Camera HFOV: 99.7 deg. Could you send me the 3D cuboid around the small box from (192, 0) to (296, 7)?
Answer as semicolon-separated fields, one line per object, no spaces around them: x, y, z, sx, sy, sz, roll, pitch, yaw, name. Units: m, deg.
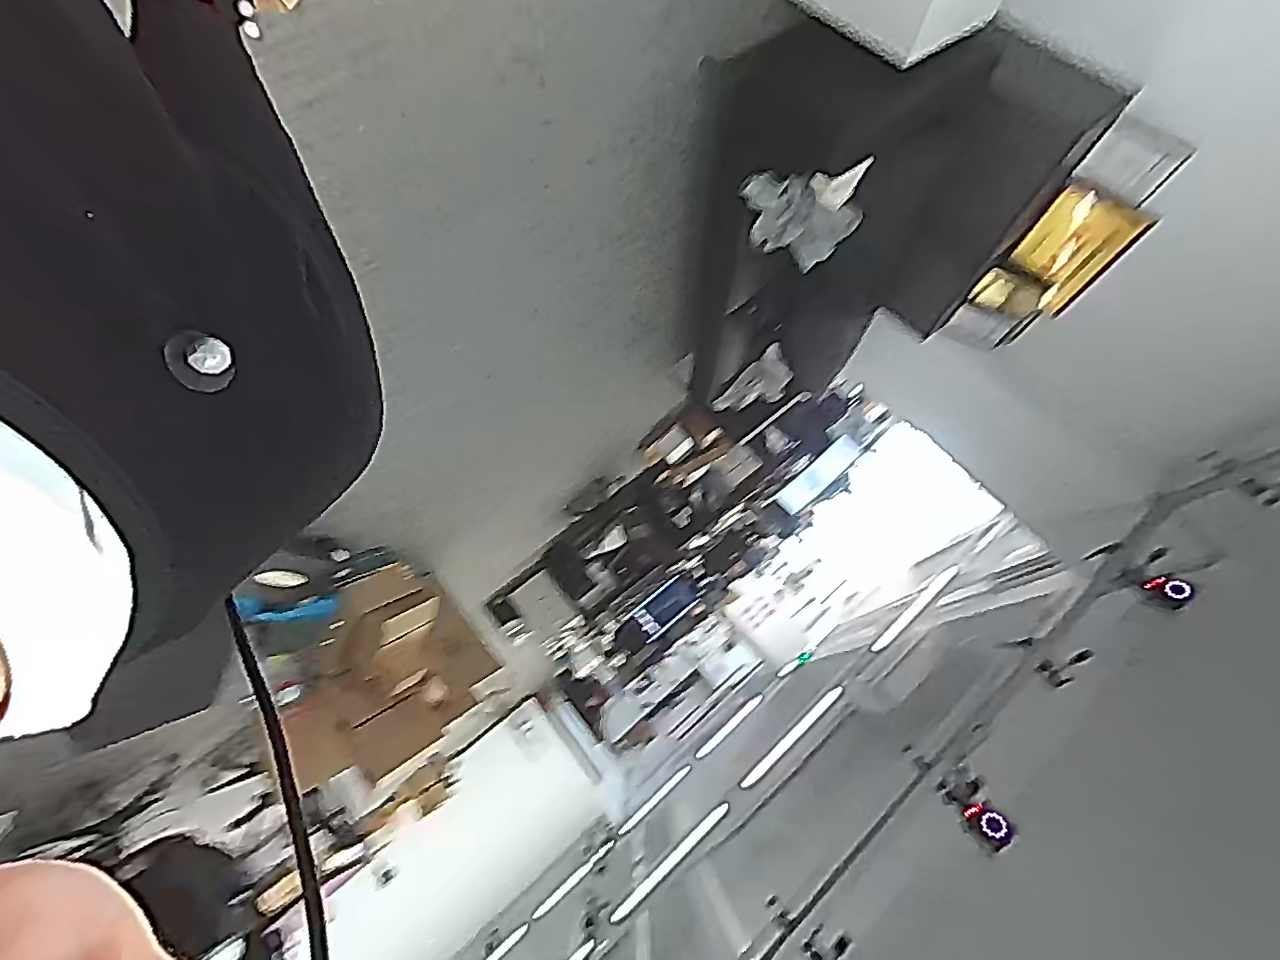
-0.453;-0.641;0.563;0.168;0.176;0.179;44;63;-69;small box
